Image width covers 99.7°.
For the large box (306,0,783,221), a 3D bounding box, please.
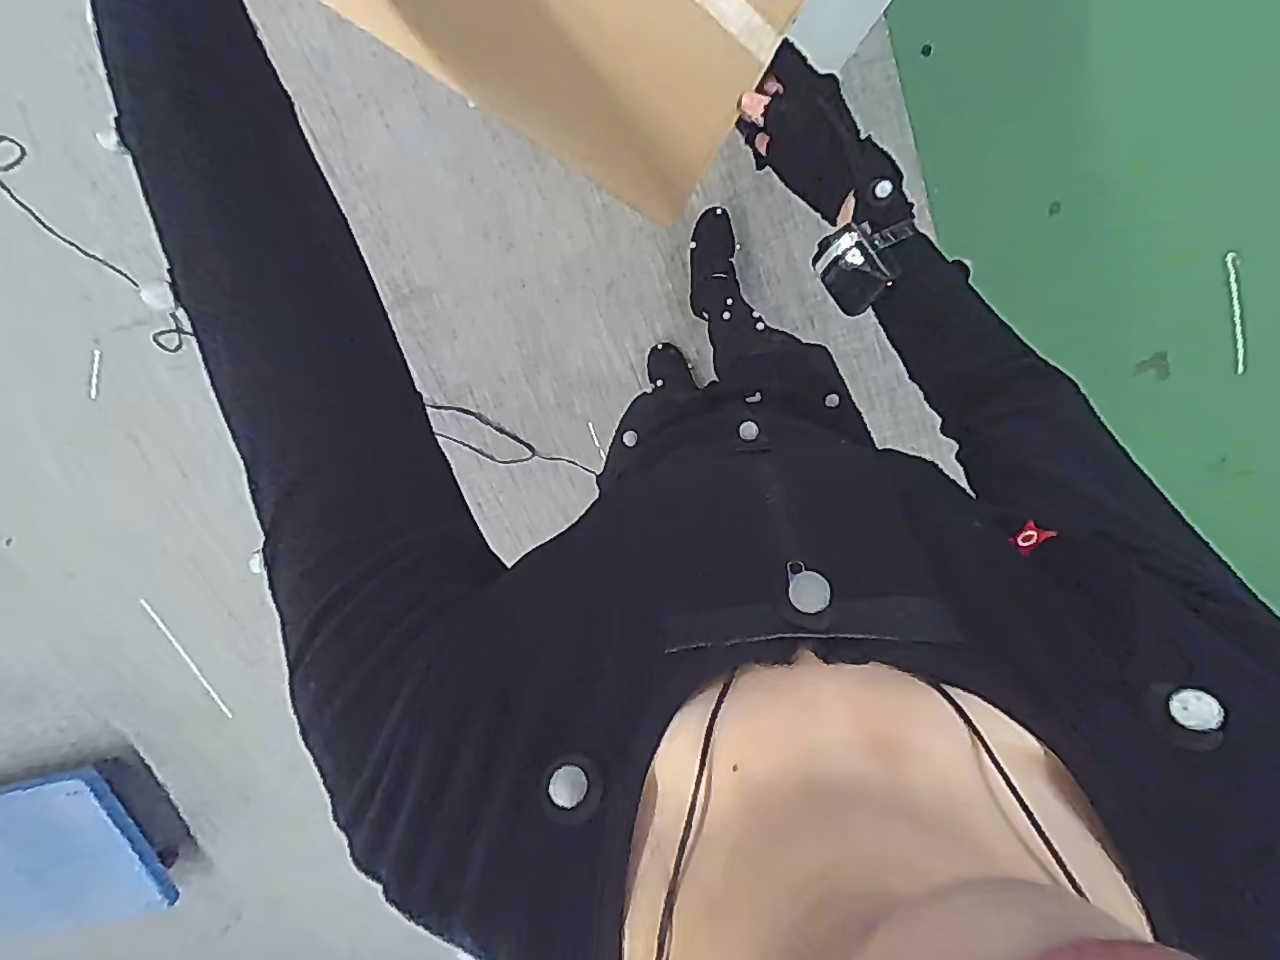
[{"bbox_3d":[-0.092,-0.508,0.485,0.408,0.320,0.320,24,118,-24],"label":"large box"}]
